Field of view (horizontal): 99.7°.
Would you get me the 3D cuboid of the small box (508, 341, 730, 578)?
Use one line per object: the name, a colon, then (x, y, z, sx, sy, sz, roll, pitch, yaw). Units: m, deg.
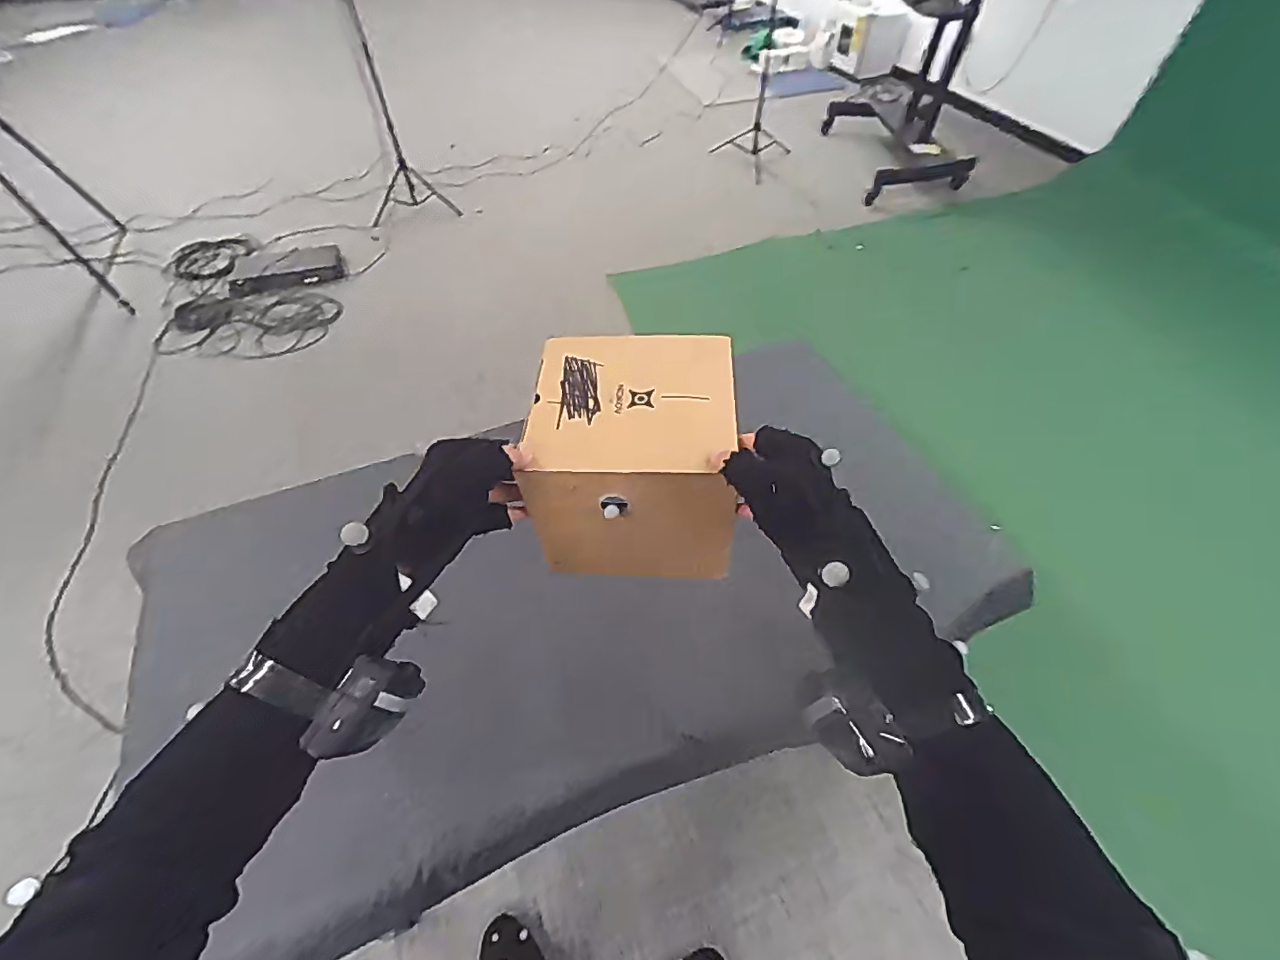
small box: (-0.009, -0.016, 0.524, 0.179, 0.176, 0.168, 1, 52, 4)
